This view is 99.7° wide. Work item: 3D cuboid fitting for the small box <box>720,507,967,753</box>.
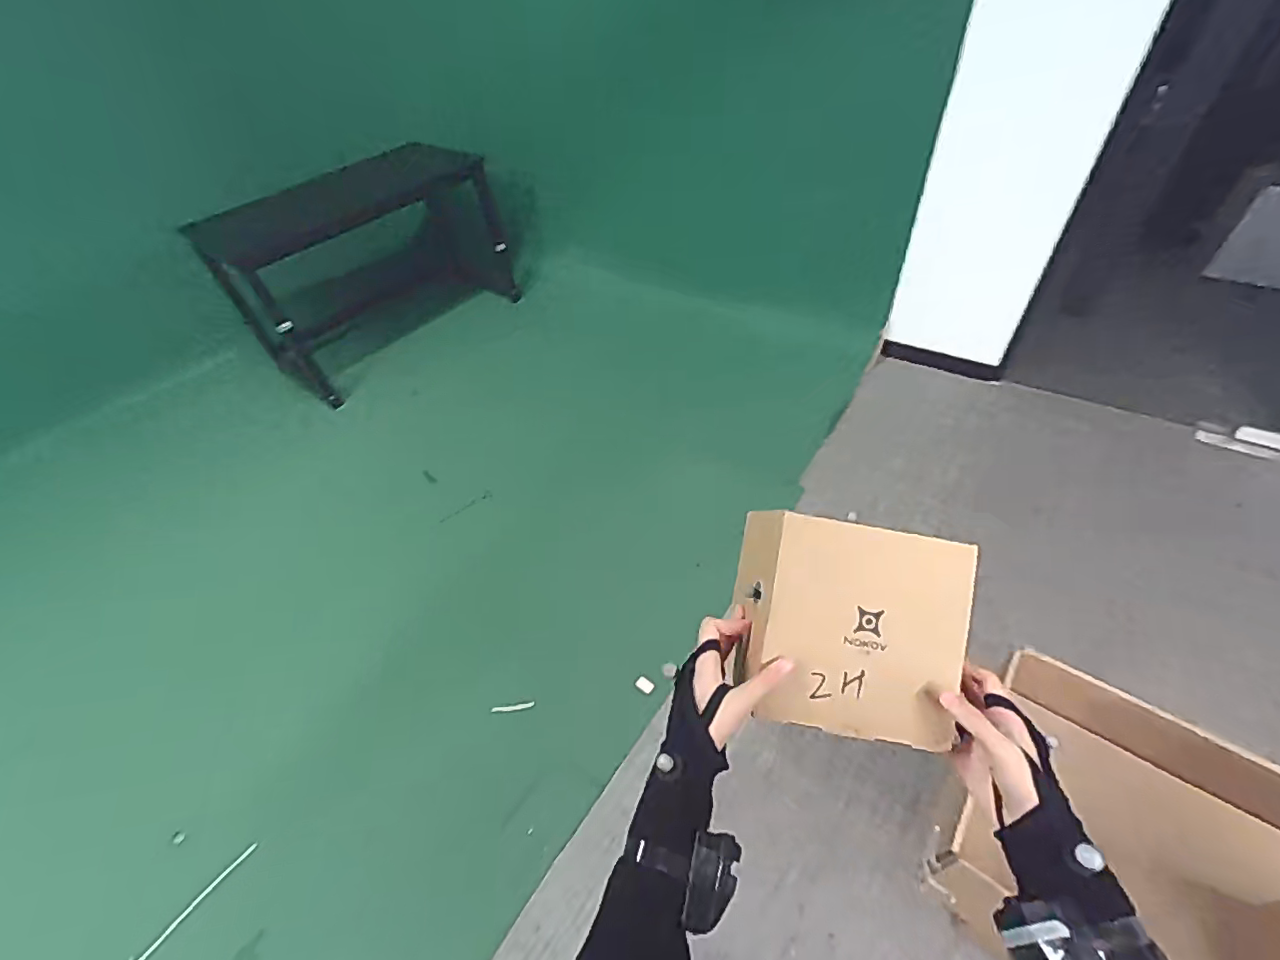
[{"bbox_3d":[0.179,0.128,0.526,0.168,0.176,0.179,11,87,2],"label":"small box"}]
